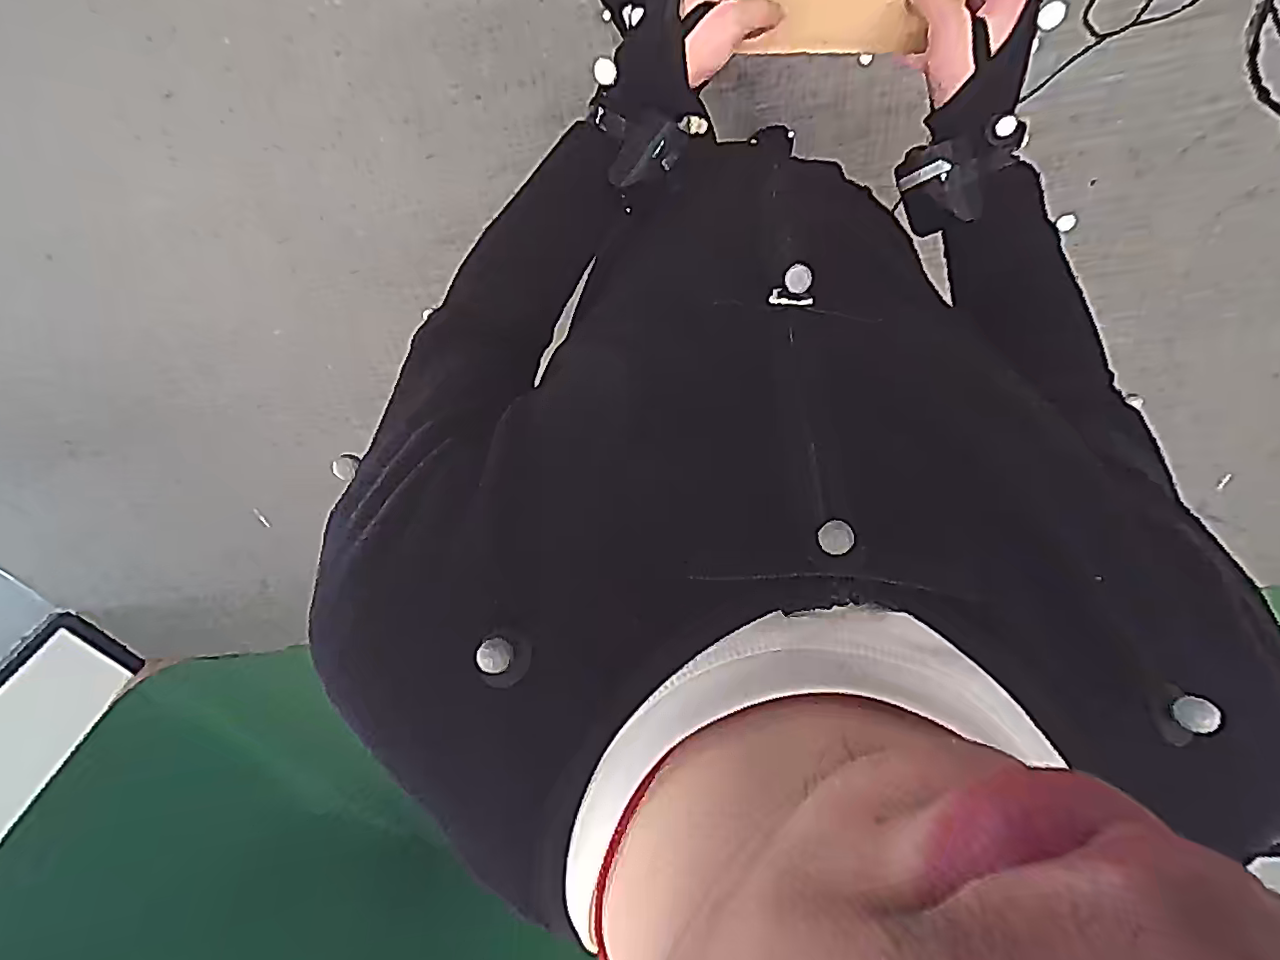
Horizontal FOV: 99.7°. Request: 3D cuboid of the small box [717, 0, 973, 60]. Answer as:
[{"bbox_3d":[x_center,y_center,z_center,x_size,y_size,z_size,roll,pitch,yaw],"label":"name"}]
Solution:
[{"bbox_3d":[0.162,-0.444,0.423,0.179,0.176,0.168,3,132,1],"label":"small box"}]
